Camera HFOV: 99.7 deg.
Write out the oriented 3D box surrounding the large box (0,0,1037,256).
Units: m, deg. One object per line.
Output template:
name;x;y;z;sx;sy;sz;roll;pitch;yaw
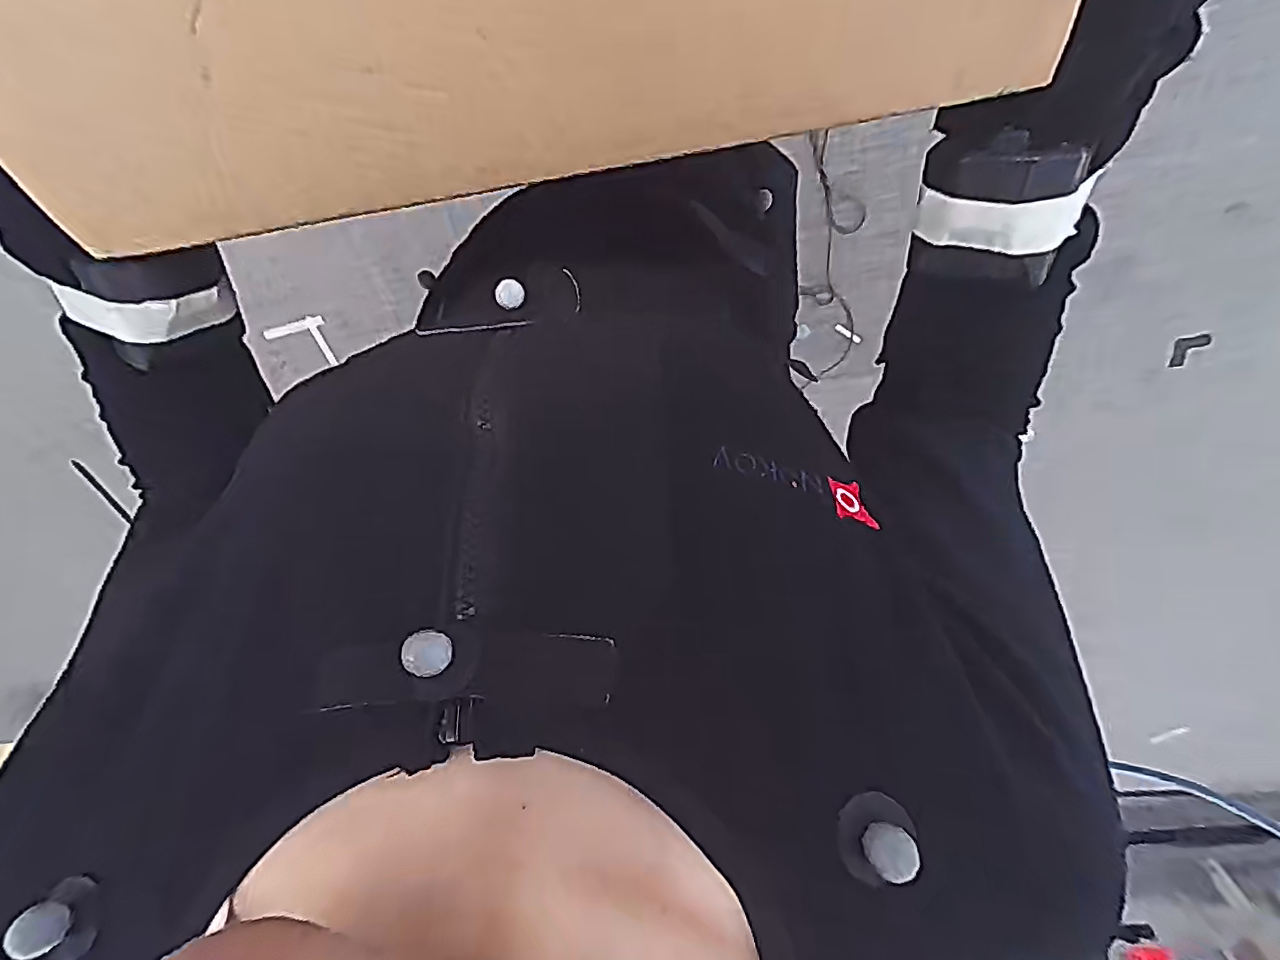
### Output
large box;-0.077;-0.342;0.216;0.408;0.320;0.320;-7;138;7
